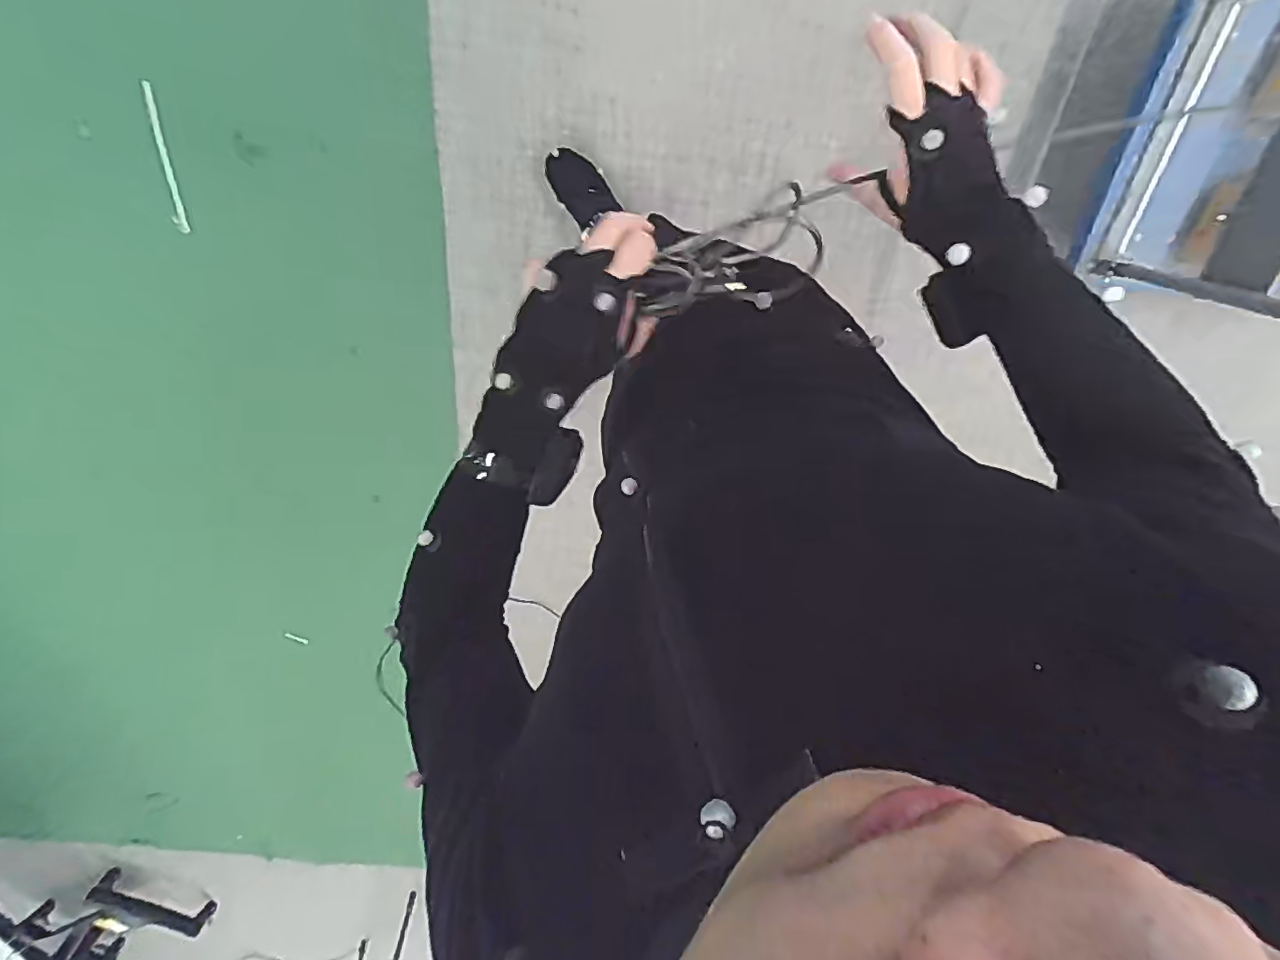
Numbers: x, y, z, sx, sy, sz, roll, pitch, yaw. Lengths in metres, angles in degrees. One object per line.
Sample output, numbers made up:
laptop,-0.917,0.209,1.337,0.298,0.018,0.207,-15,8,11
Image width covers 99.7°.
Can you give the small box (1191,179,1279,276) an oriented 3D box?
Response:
small box,1.312,-0.510,1.097,0.179,0.176,0.168,5,120,0
